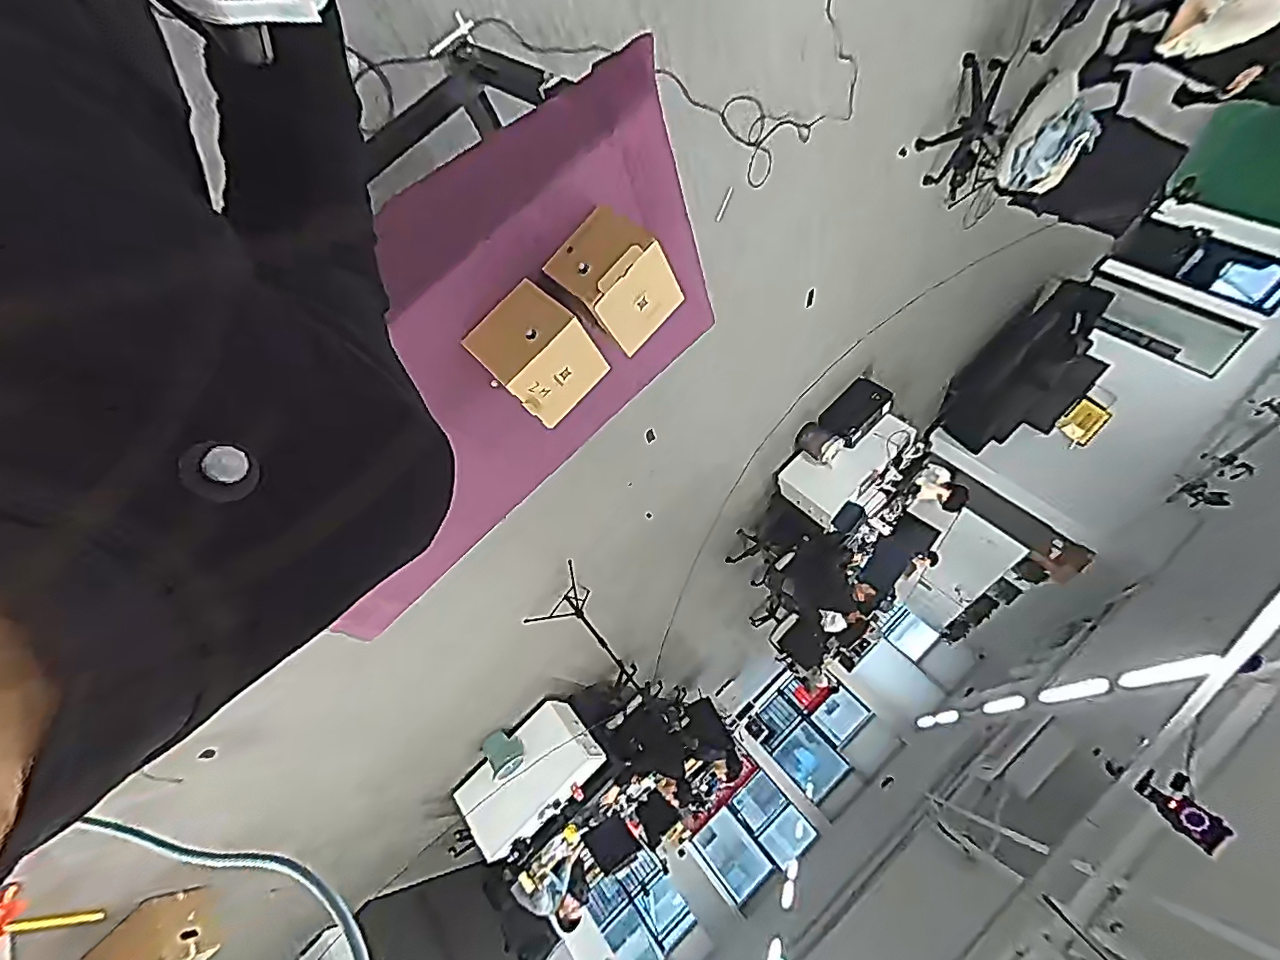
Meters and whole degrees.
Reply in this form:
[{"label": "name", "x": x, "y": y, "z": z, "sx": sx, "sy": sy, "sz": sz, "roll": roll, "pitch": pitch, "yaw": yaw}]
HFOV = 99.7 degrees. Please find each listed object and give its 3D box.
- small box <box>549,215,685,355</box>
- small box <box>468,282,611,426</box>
[{"label": "small box", "x": -0.045, "y": -0.386, "z": 1.055, "sx": 0.168, "sy": 0.176, "sz": 0.179, "roll": -47, "pitch": 151, "yaw": 1}, {"label": "small box", "x": -0.192, "y": -0.243, "z": 1.037, "sx": 0.179, "sy": 0.176, "sz": 0.168, "roll": -45, "pitch": 150, "yaw": -2}]
